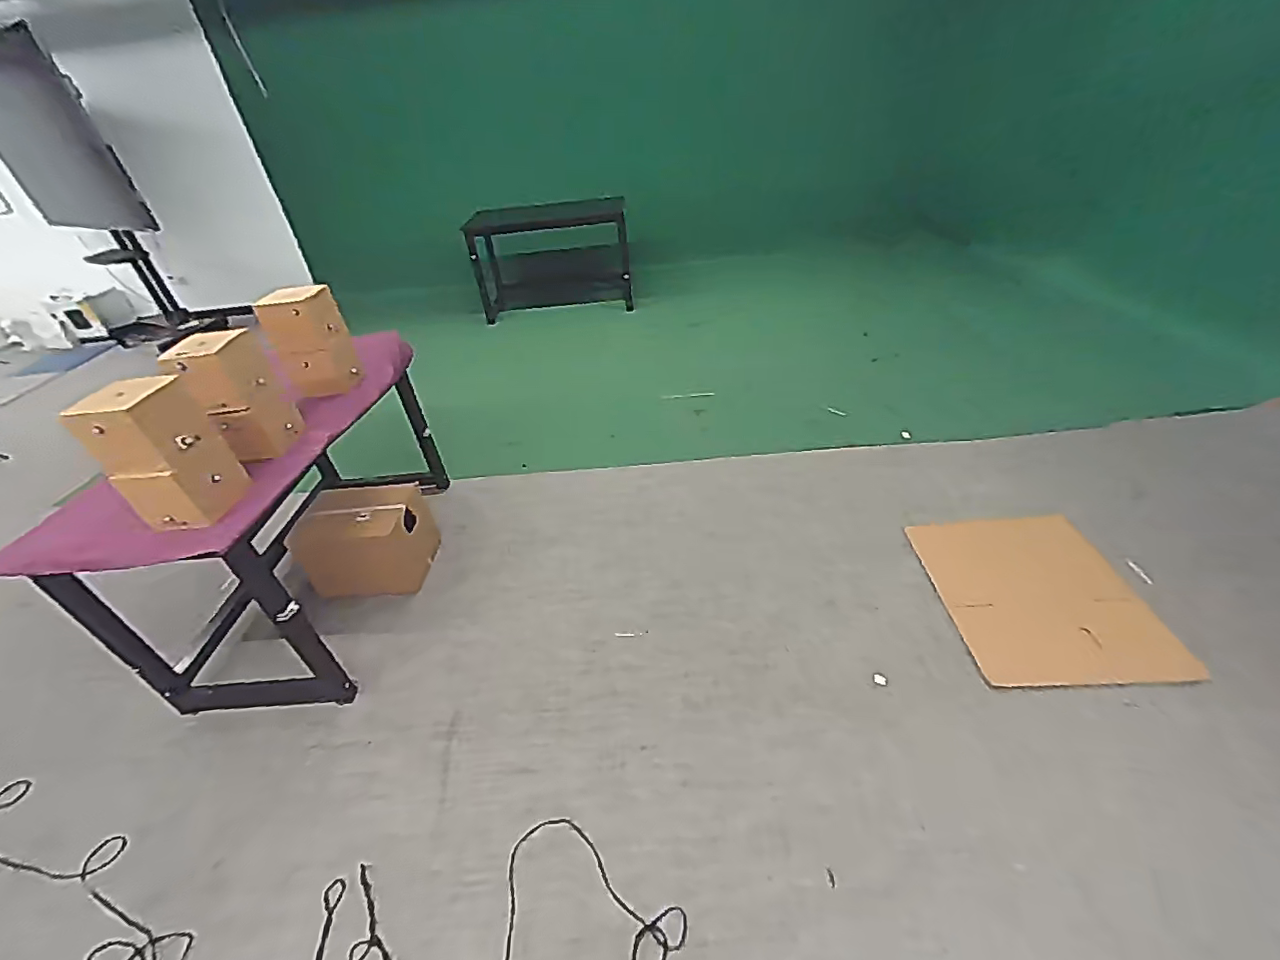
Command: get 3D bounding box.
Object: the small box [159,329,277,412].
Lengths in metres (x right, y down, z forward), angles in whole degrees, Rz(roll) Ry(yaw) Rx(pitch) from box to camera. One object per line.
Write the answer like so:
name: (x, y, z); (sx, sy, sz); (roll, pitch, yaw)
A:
small box: (-1.153, -0.302, 1.500); (0.168, 0.176, 0.179); (-7, 36, 3)

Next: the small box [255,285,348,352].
small box: (-1.129, -0.539, 1.818); (0.179, 0.176, 0.168); (-4, 37, 3)

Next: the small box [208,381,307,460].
small box: (-1.138, -0.173, 1.600); (0.179, 0.176, 0.168); (-5, 37, 3)

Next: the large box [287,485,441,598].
large box: (-1.071, 0.242, 2.148); (0.408, 0.320, 0.320); (-4, 37, 2)

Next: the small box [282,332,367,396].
small box: (-1.108, -0.410, 1.914); (0.179, 0.176, 0.168); (-4, 37, 3)

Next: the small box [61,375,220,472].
small box: (-1.161, -0.131, 1.274); (0.179, 0.176, 0.168); (-3, 38, 6)
